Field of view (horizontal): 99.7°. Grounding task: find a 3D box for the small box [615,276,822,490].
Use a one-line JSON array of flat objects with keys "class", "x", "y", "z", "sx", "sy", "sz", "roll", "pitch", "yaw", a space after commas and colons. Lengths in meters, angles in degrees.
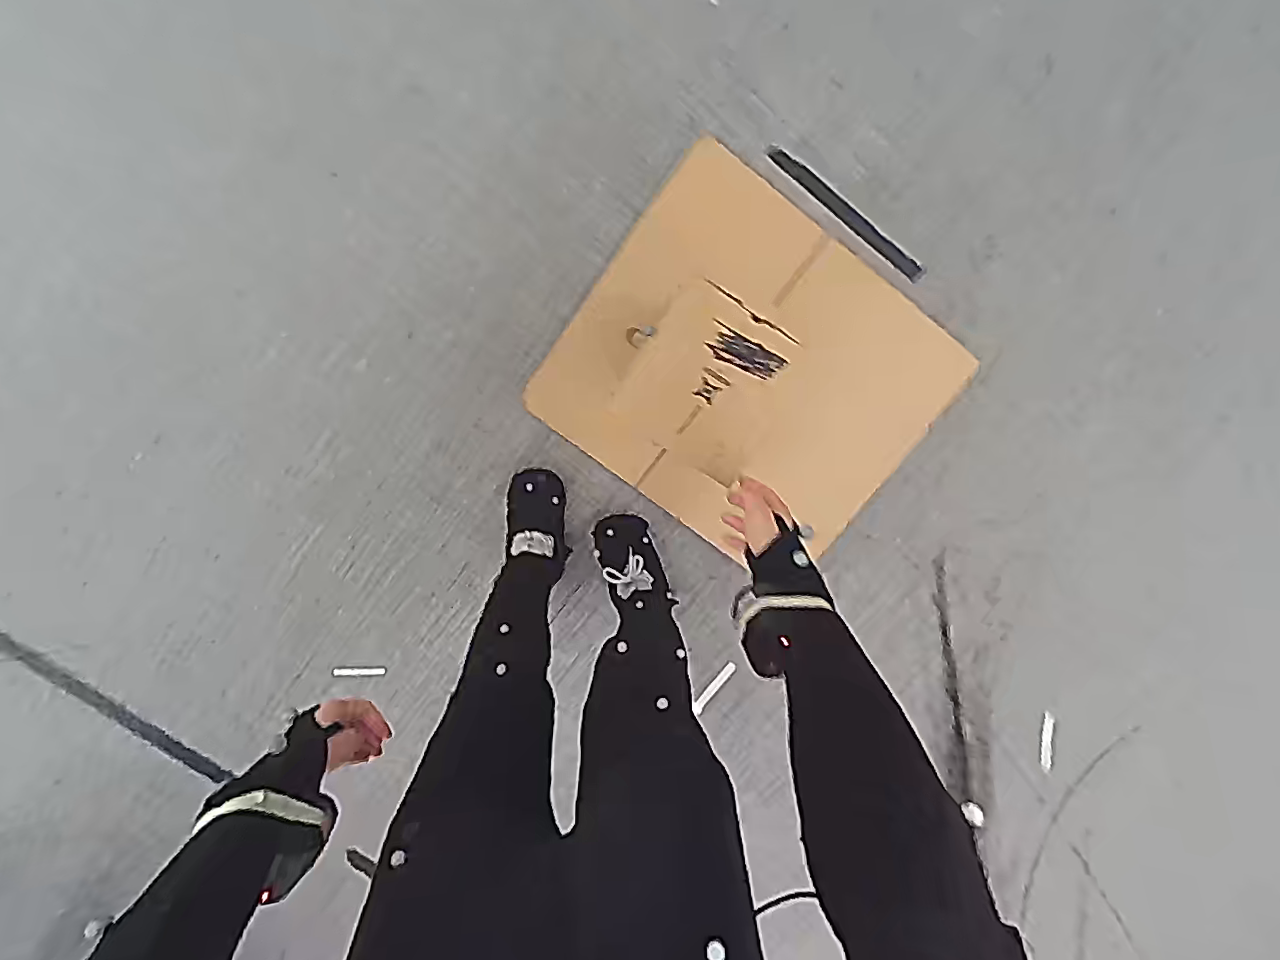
[{"class": "small box", "x": 0.084, "y": -0.119, "z": 0.665, "sx": 0.168, "sy": 0.176, "sz": 0.179, "roll": 32, "pitch": 102, "yaw": -6}]
